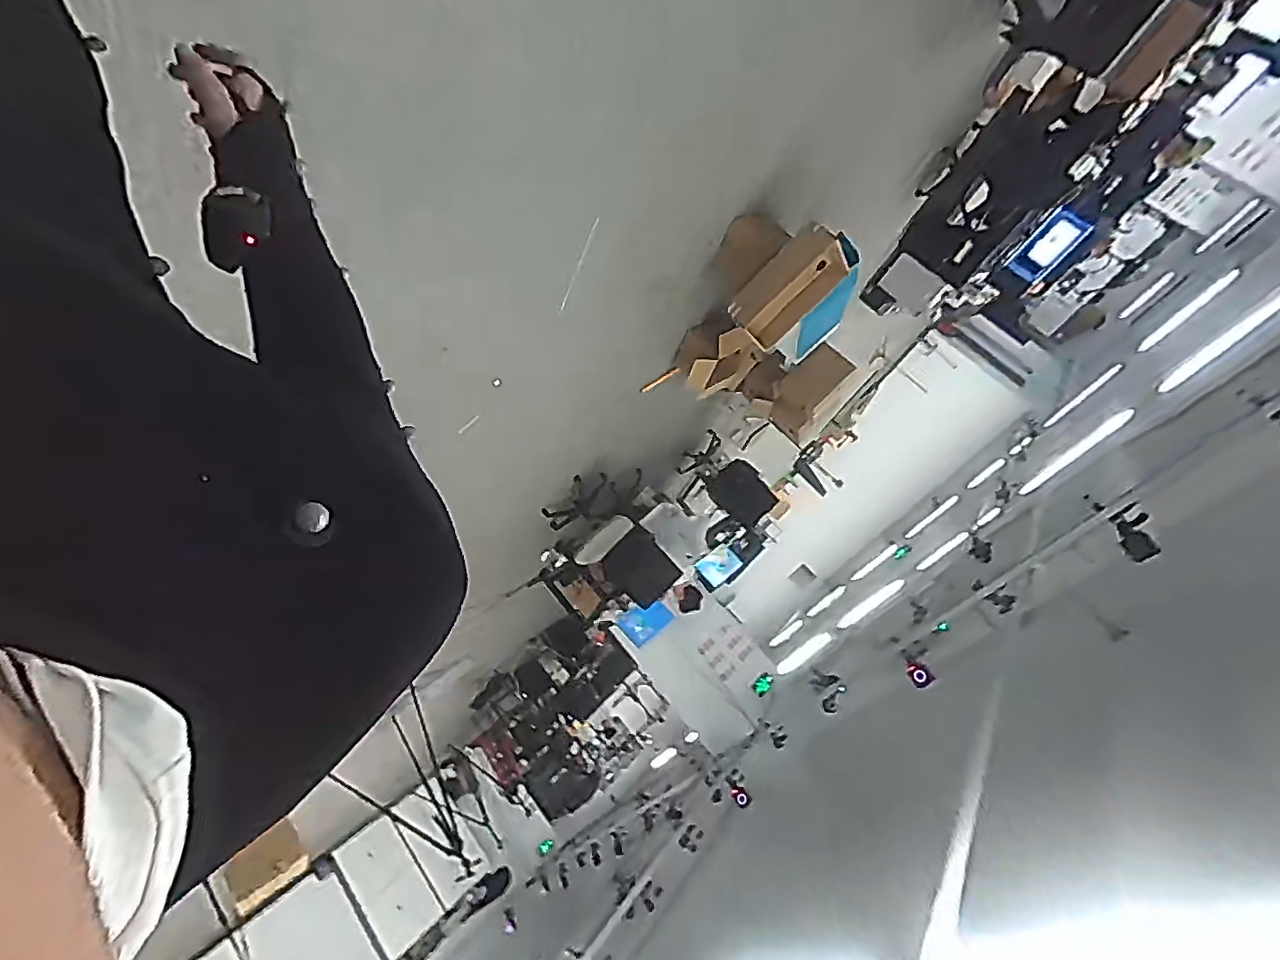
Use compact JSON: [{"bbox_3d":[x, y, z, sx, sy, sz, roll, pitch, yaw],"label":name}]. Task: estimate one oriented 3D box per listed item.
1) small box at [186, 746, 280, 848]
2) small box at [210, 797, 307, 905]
[{"bbox_3d":[-1.145,0.887,1.521,0.168,0.176,0.179,-22,154,-48],"label":"small box"},{"bbox_3d":[-1.043,1.008,1.478,0.168,0.176,0.179,-25,156,-47],"label":"small box"}]
